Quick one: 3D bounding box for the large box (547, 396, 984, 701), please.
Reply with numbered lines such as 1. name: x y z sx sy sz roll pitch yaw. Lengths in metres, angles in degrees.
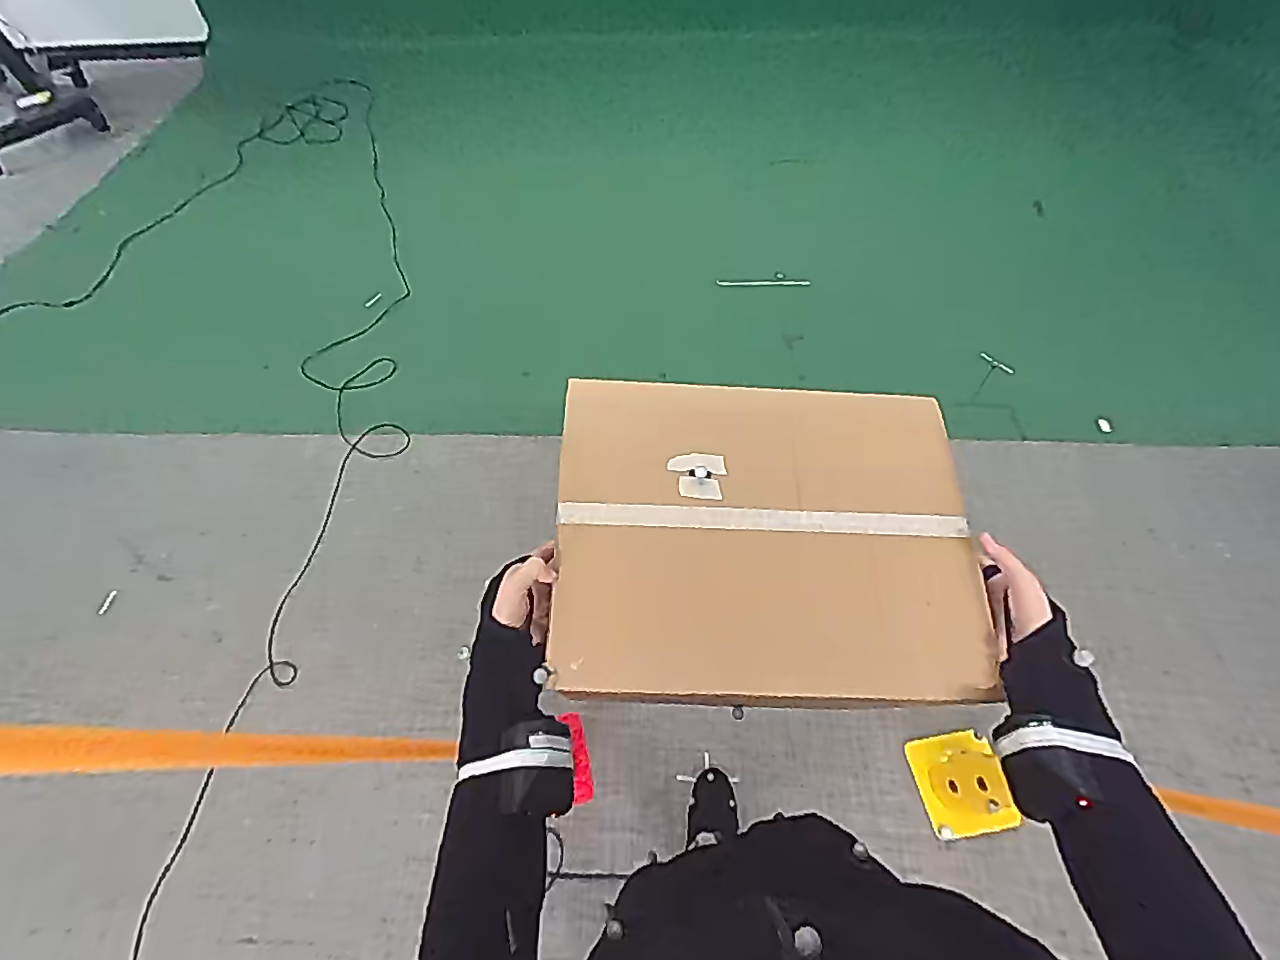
1. large box: 0.112 0.108 0.675 0.408 0.320 0.320 2 66 -2
